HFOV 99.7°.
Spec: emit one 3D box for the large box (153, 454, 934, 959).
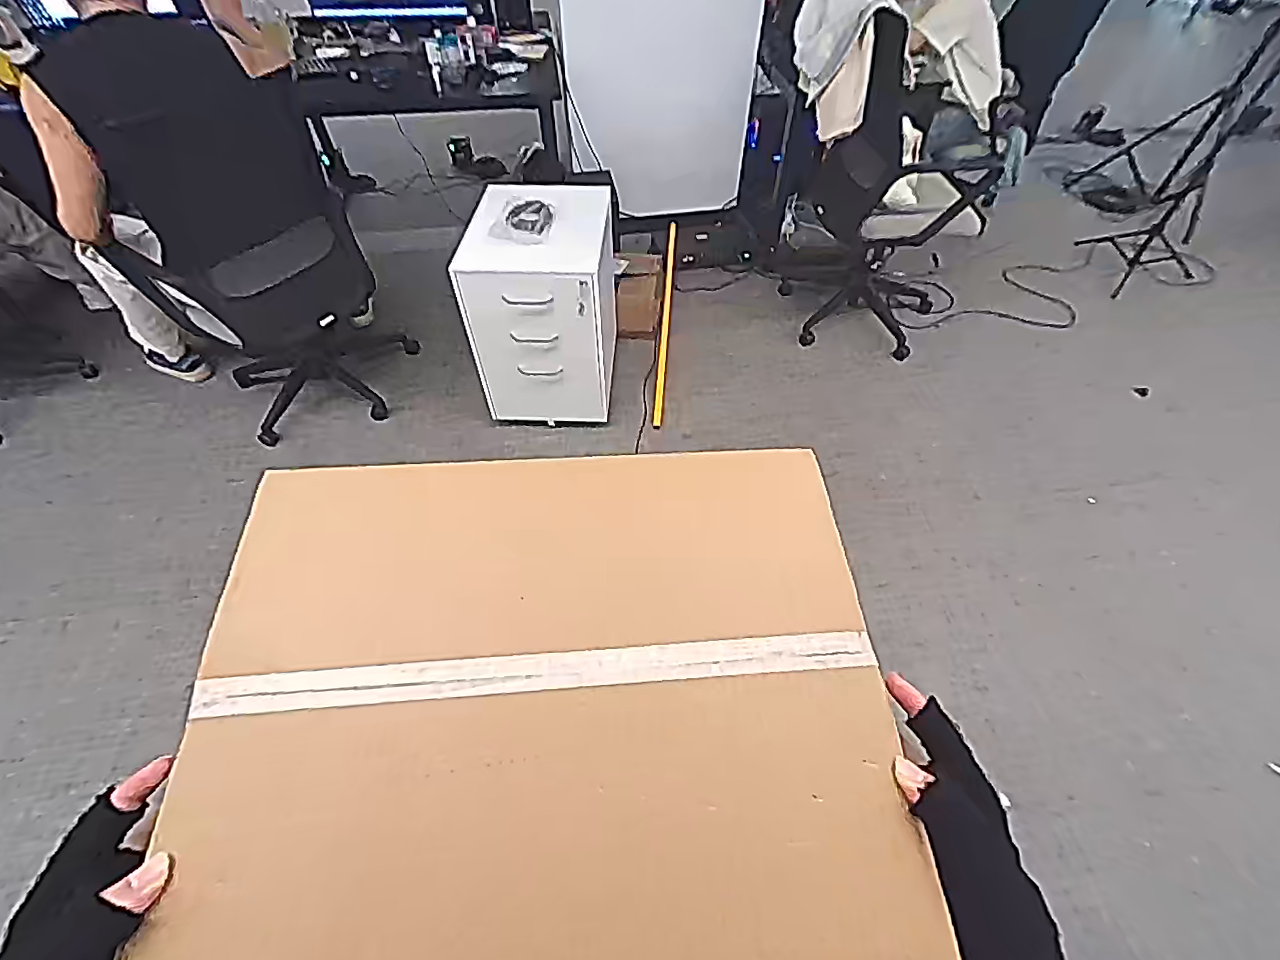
[{"bbox_3d":[-0.060,0.197,0.470,0.408,0.320,0.320,-3,60,-4],"label":"large box"}]
